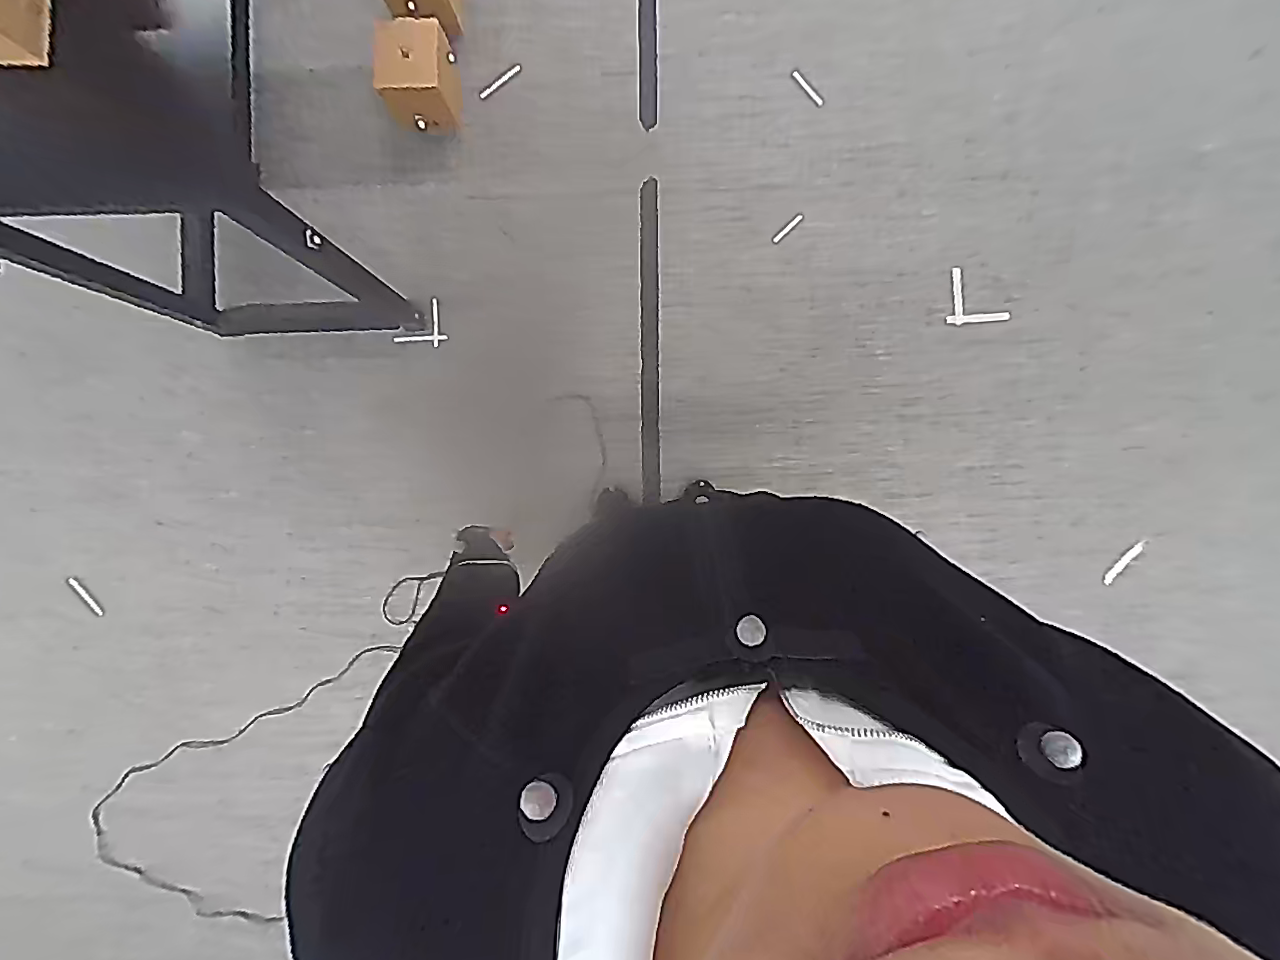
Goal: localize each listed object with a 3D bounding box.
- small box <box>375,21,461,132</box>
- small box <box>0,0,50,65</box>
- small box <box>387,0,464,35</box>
[{"bbox_3d":[-0.586,-1.069,1.442,0.168,0.176,0.179,-1,91,2],"label":"small box"},{"bbox_3d":[-0.947,-0.691,0.715,0.179,0.176,0.168,2,89,1],"label":"small box"},{"bbox_3d":[-0.586,-1.332,1.440,0.179,0.176,0.168,-2,91,1],"label":"small box"}]
